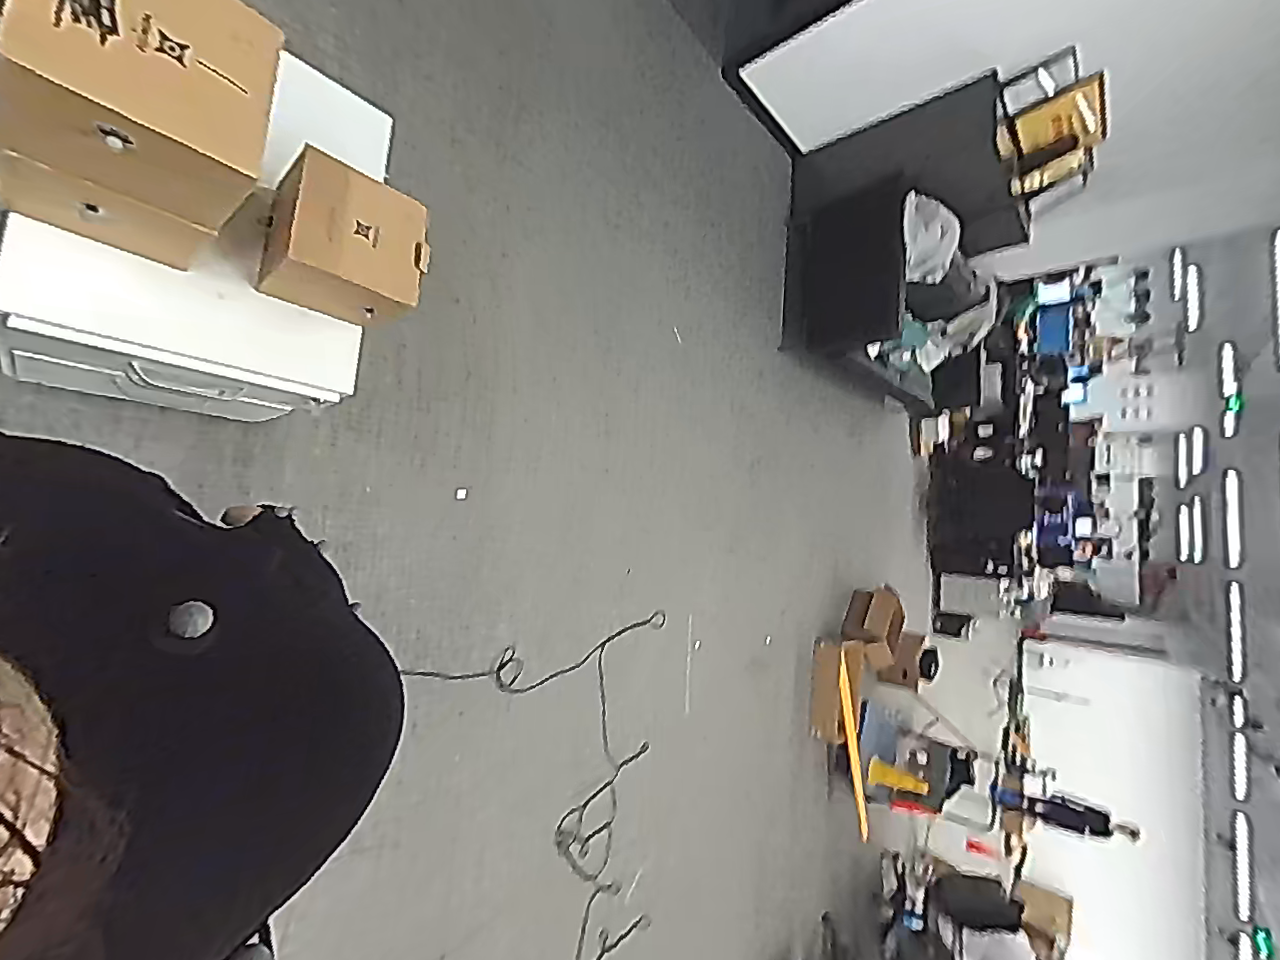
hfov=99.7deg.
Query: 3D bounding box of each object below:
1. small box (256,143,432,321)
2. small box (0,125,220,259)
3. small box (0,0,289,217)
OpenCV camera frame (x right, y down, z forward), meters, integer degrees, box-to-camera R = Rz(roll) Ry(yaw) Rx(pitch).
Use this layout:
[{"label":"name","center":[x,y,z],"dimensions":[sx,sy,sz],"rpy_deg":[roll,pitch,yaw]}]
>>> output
[{"label":"small box","center":[-0.448,-0.357,0.822],"dimensions":[0.179,0.176,0.168],"rpy_deg":[13,80,-46]},{"label":"small box","center":[-0.608,-0.386,0.636],"dimensions":[0.179,0.176,0.168],"rpy_deg":[13,80,-49]},{"label":"small box","center":[-0.483,-0.391,0.529],"dimensions":[0.179,0.176,0.168],"rpy_deg":[13,80,-50]}]
